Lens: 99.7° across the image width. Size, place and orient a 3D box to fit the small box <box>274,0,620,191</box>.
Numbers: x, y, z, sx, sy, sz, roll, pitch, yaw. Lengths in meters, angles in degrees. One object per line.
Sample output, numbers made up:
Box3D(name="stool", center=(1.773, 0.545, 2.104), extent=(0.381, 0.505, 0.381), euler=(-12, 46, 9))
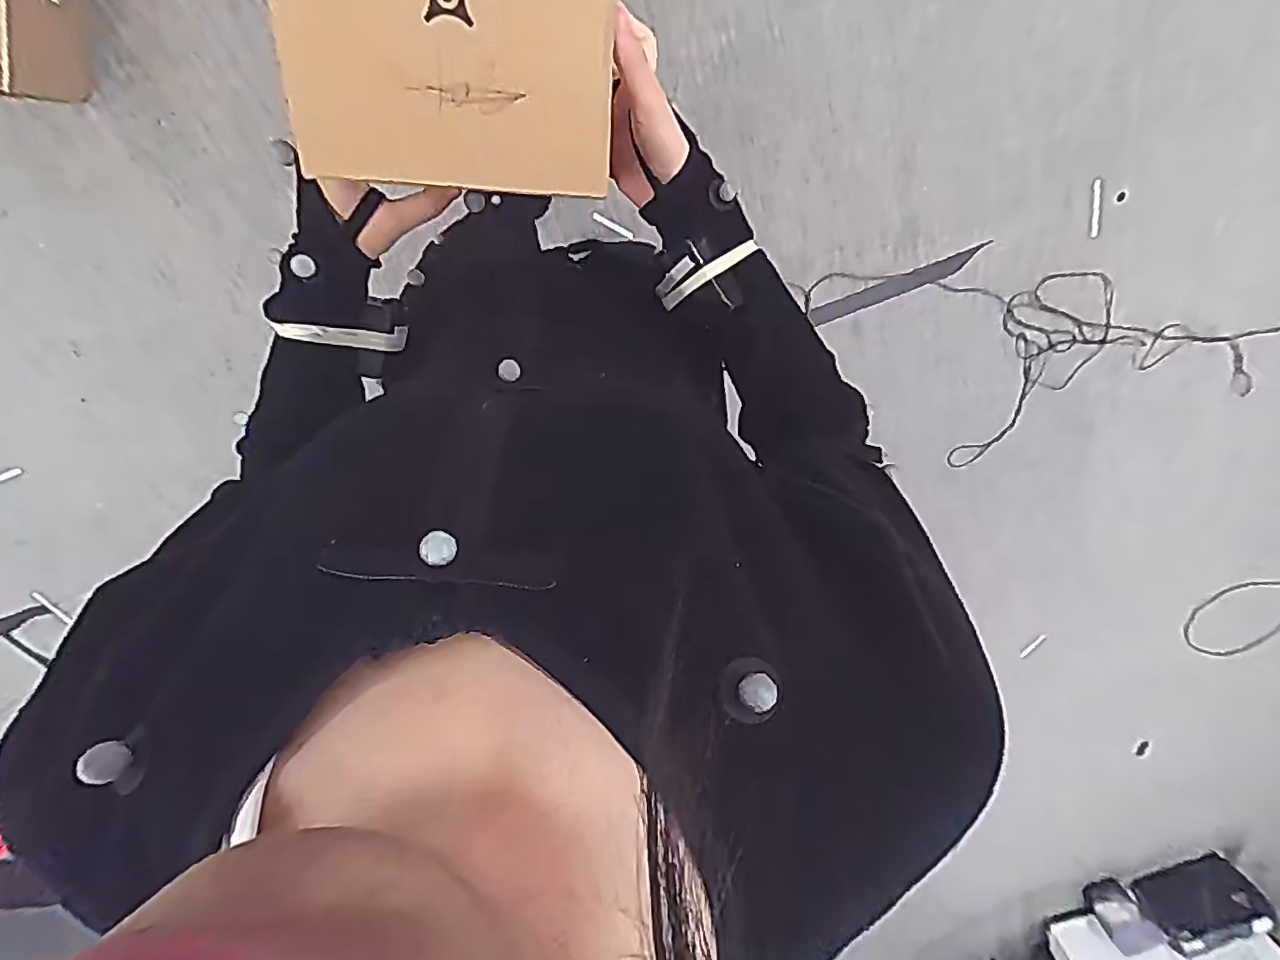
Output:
Box3D(name="small box", center=(-0.101, -0.281, 0.327), extent=(0.168, 0.176, 0.179), euler=(1, 119, -8))

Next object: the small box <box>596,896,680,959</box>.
Box3D(name="small box", center=(0.000, 1.161, 1.318), extent=(0.168, 0.176, 0.179), euler=(-21, 118, 4))
